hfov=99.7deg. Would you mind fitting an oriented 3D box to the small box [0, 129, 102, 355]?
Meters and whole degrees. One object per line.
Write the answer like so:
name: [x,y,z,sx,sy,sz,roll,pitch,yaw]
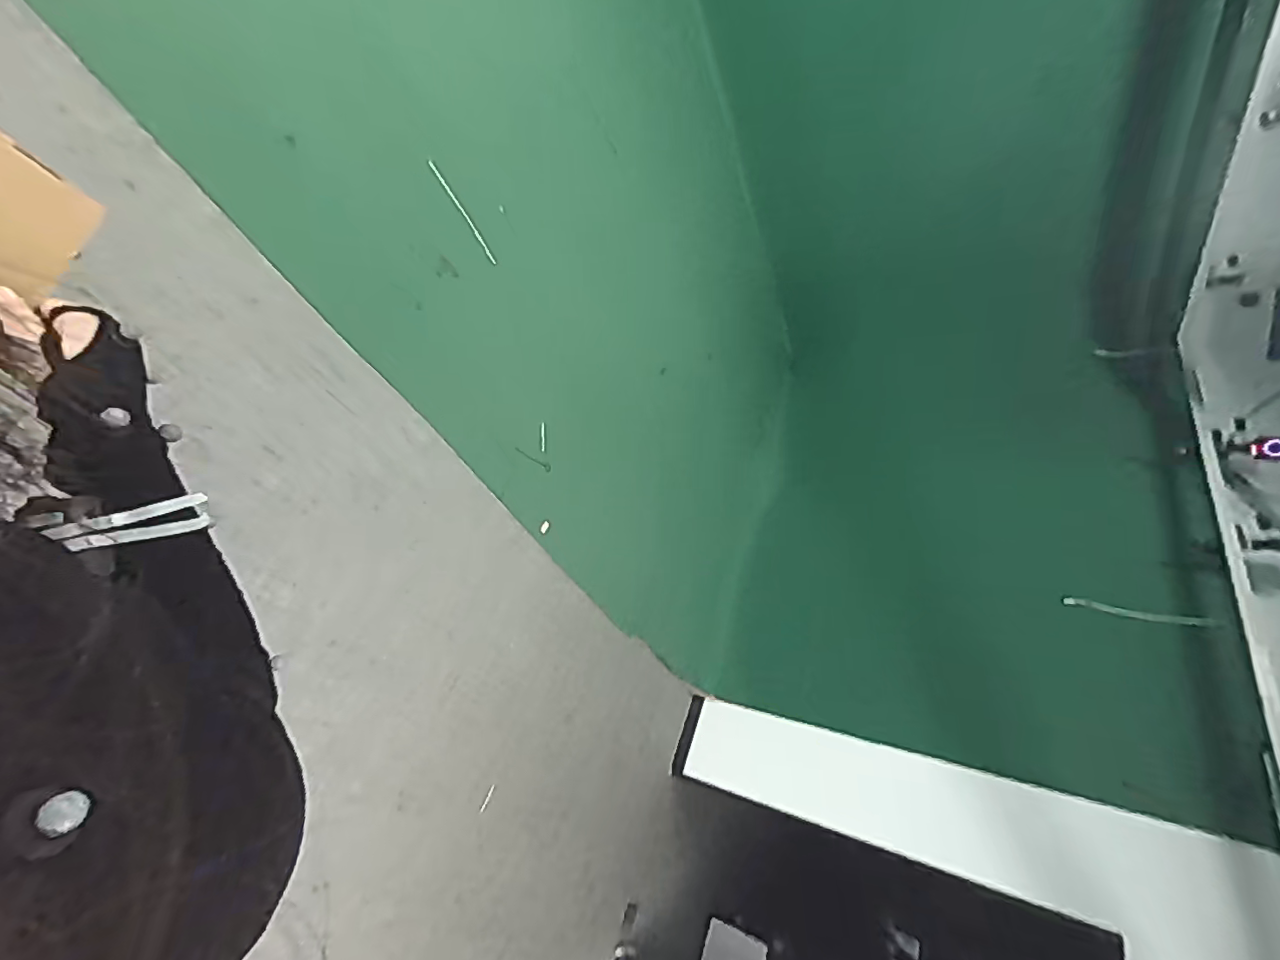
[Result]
small box: [-0.539,-0.189,0.355,0.168,0.176,0.179,54,56,-70]
